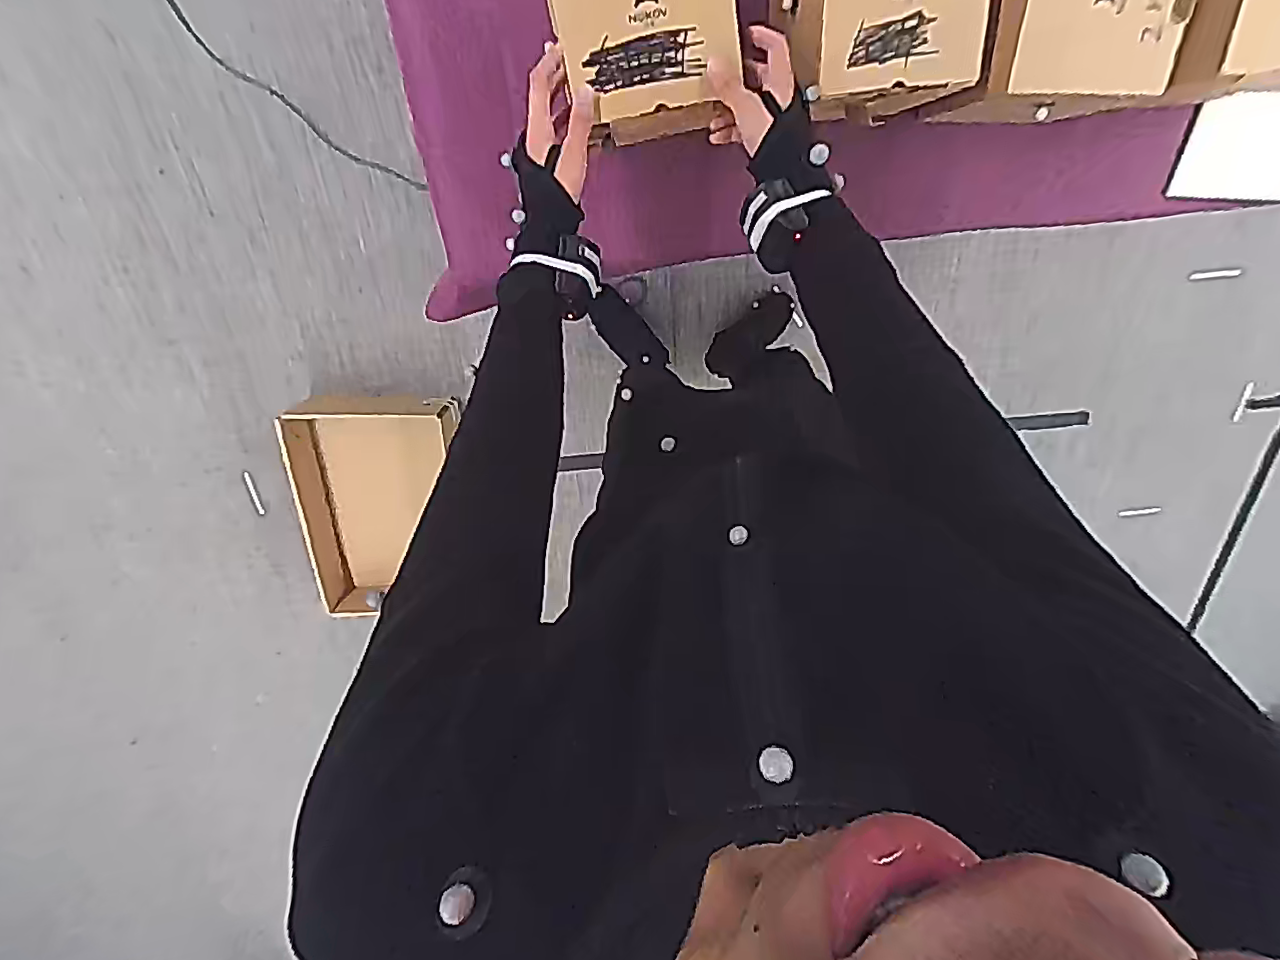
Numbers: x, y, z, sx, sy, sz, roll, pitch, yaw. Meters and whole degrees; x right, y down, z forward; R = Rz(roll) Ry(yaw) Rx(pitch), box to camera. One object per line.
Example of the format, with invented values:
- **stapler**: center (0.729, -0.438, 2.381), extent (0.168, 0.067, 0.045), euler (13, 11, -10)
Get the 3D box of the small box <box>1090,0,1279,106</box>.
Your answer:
- **small box**: center (0.656, -0.530, 0.597), extent (0.168, 0.176, 0.179), euler (-5, 114, -4)
